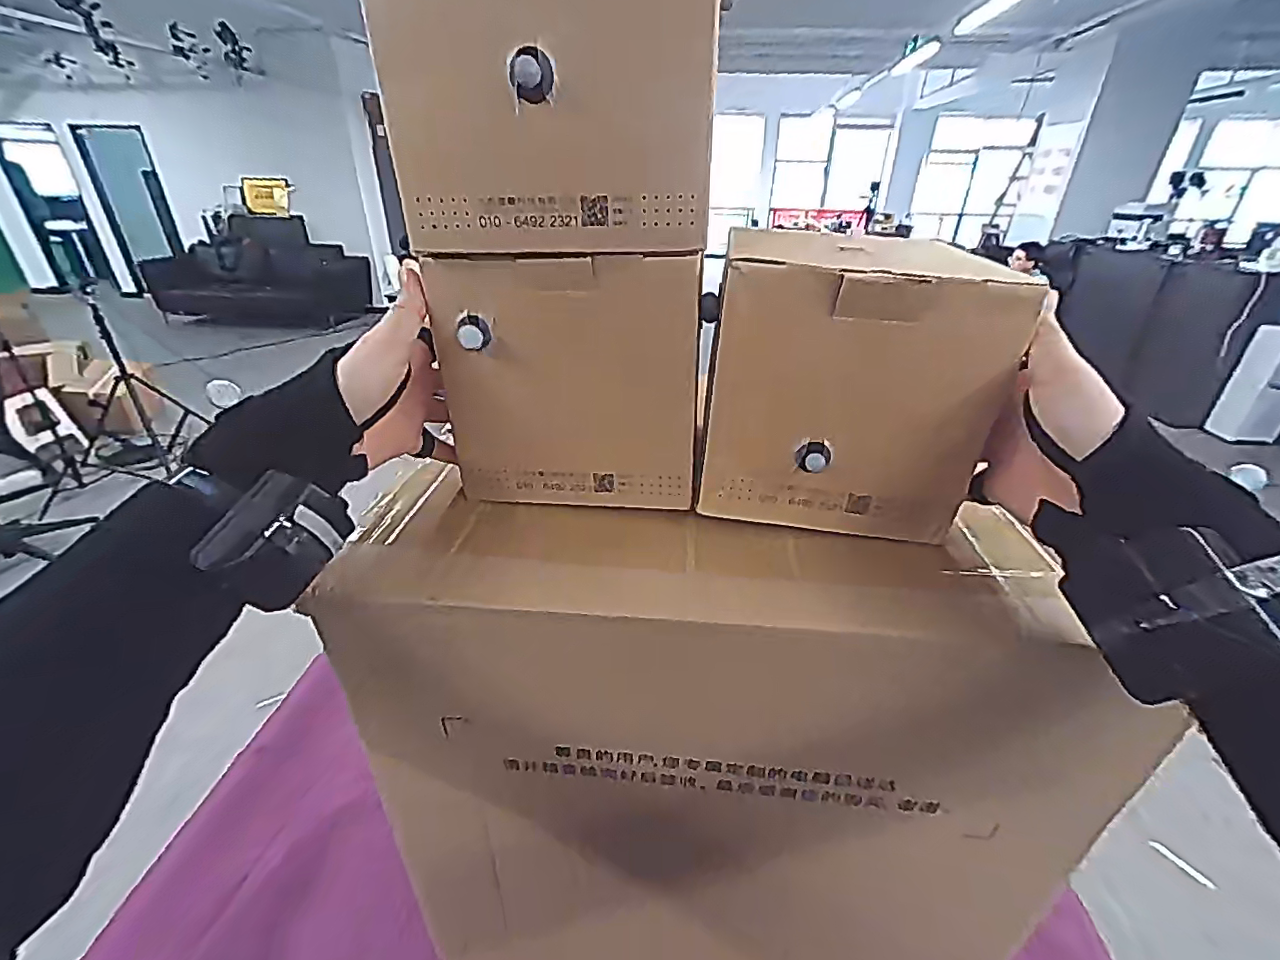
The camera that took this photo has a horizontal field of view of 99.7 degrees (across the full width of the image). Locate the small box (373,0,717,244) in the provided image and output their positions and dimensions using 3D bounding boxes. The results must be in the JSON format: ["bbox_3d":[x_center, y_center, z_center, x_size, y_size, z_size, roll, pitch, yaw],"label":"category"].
[{"bbox_3d":[-0.041,-0.242,0.330,0.168,0.176,0.179,1,29,2],"label":"small box"}]

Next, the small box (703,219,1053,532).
[{"bbox_3d":[0.138,-0.086,0.394,0.168,0.176,0.179,6,30,5],"label":"small box"}]
